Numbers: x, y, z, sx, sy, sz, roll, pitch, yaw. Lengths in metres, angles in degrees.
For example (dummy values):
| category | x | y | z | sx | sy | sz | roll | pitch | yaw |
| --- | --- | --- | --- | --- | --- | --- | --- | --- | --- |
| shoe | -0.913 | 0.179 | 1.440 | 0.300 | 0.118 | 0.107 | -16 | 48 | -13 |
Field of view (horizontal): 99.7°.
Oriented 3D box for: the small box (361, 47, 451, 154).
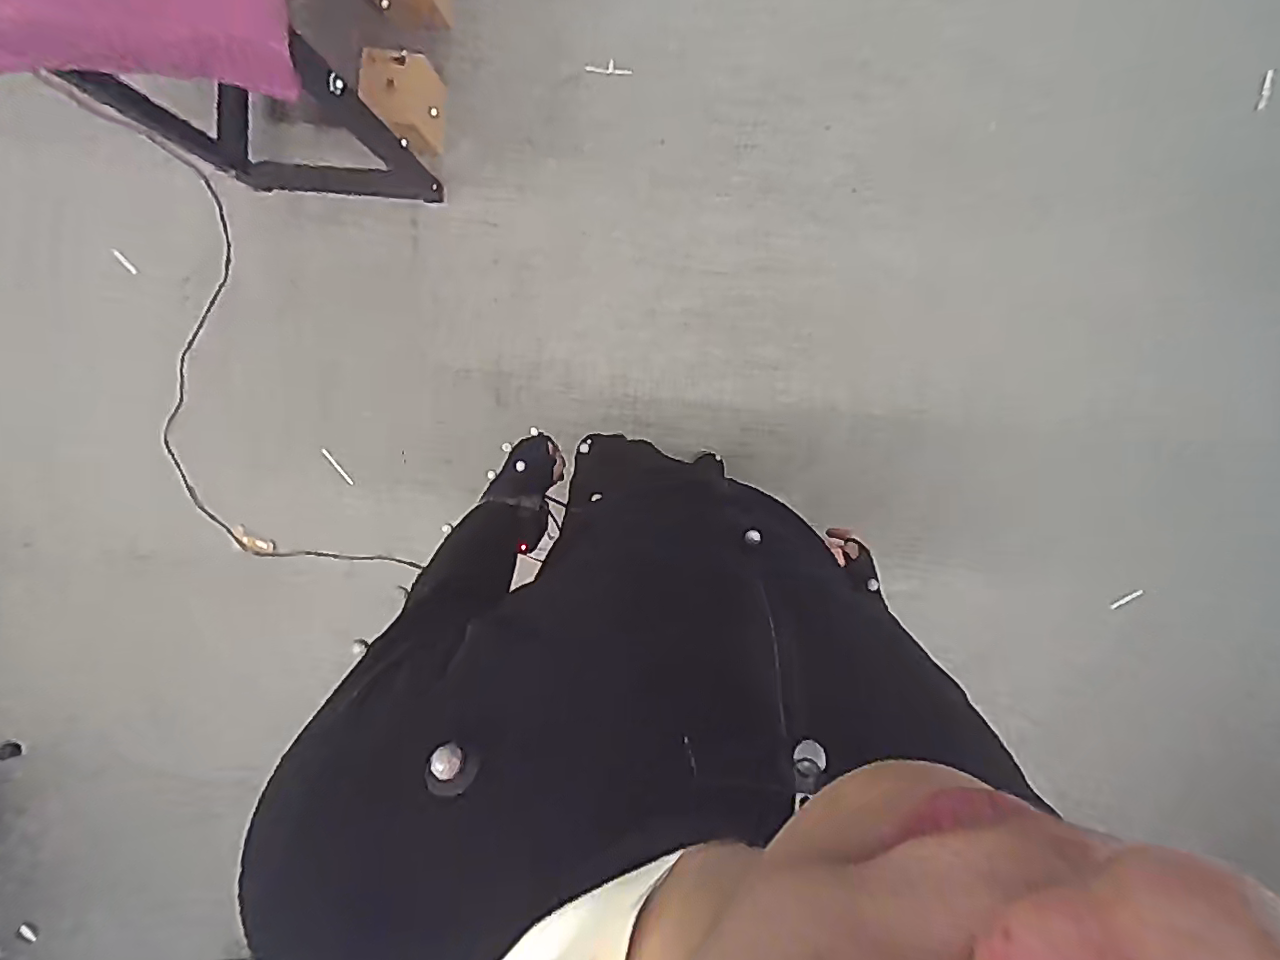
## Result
| category | x | y | z | sx | sy | sz | roll | pitch | yaw |
| --- | --- | --- | --- | --- | --- | --- | --- | --- | --- |
| small box | -0.629 | -1.020 | 1.469 | 0.168 | 0.176 | 0.179 | 9 | 97 | 3 |
